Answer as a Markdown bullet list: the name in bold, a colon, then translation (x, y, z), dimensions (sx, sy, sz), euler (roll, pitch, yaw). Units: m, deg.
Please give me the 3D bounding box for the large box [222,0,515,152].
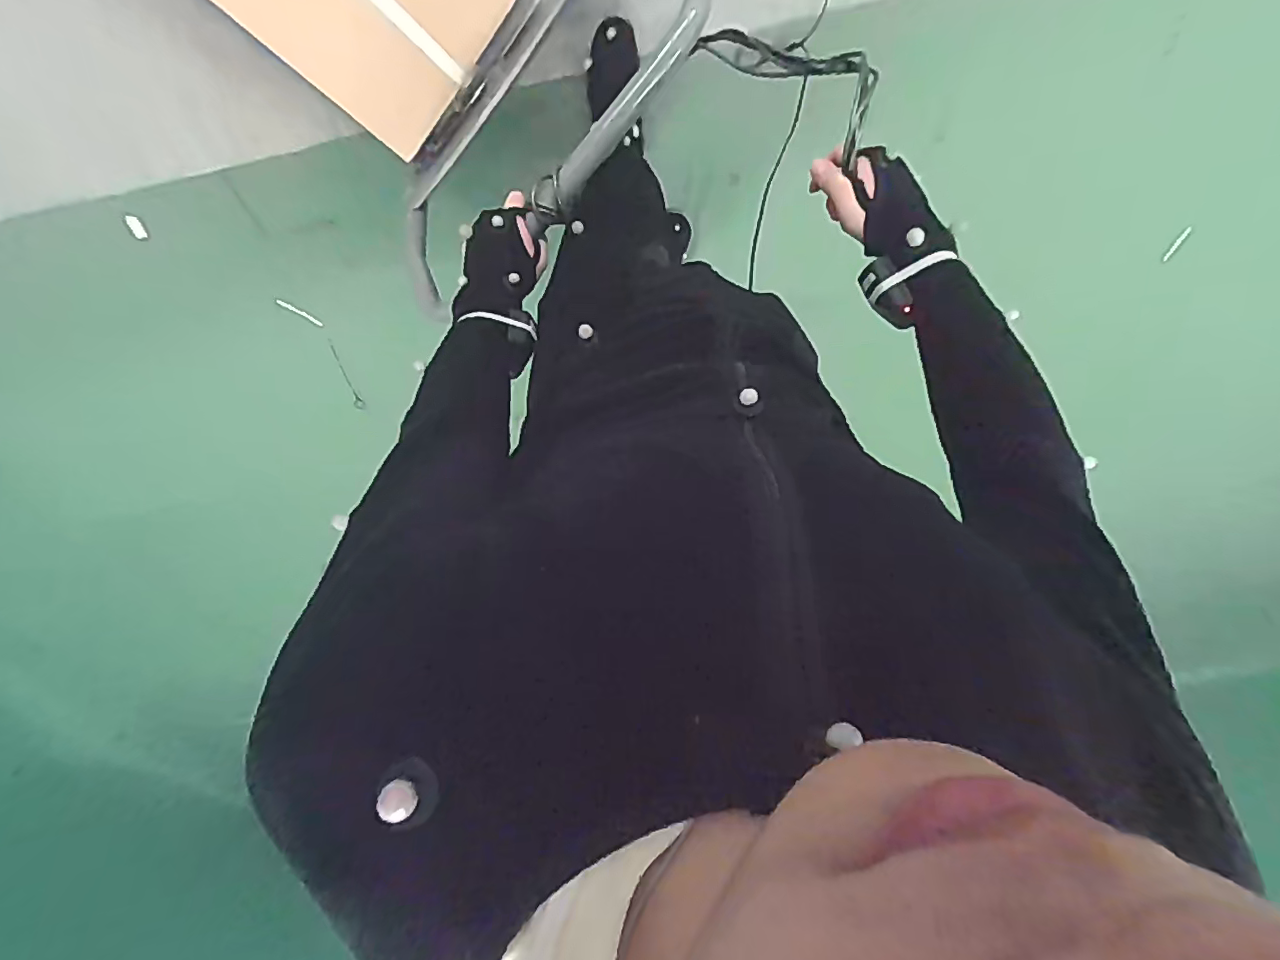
- **large box**: translation (-0.422, -0.802, 0.806), dimensions (0.320, 0.320, 0.408), euler (-40, 130, 23)
